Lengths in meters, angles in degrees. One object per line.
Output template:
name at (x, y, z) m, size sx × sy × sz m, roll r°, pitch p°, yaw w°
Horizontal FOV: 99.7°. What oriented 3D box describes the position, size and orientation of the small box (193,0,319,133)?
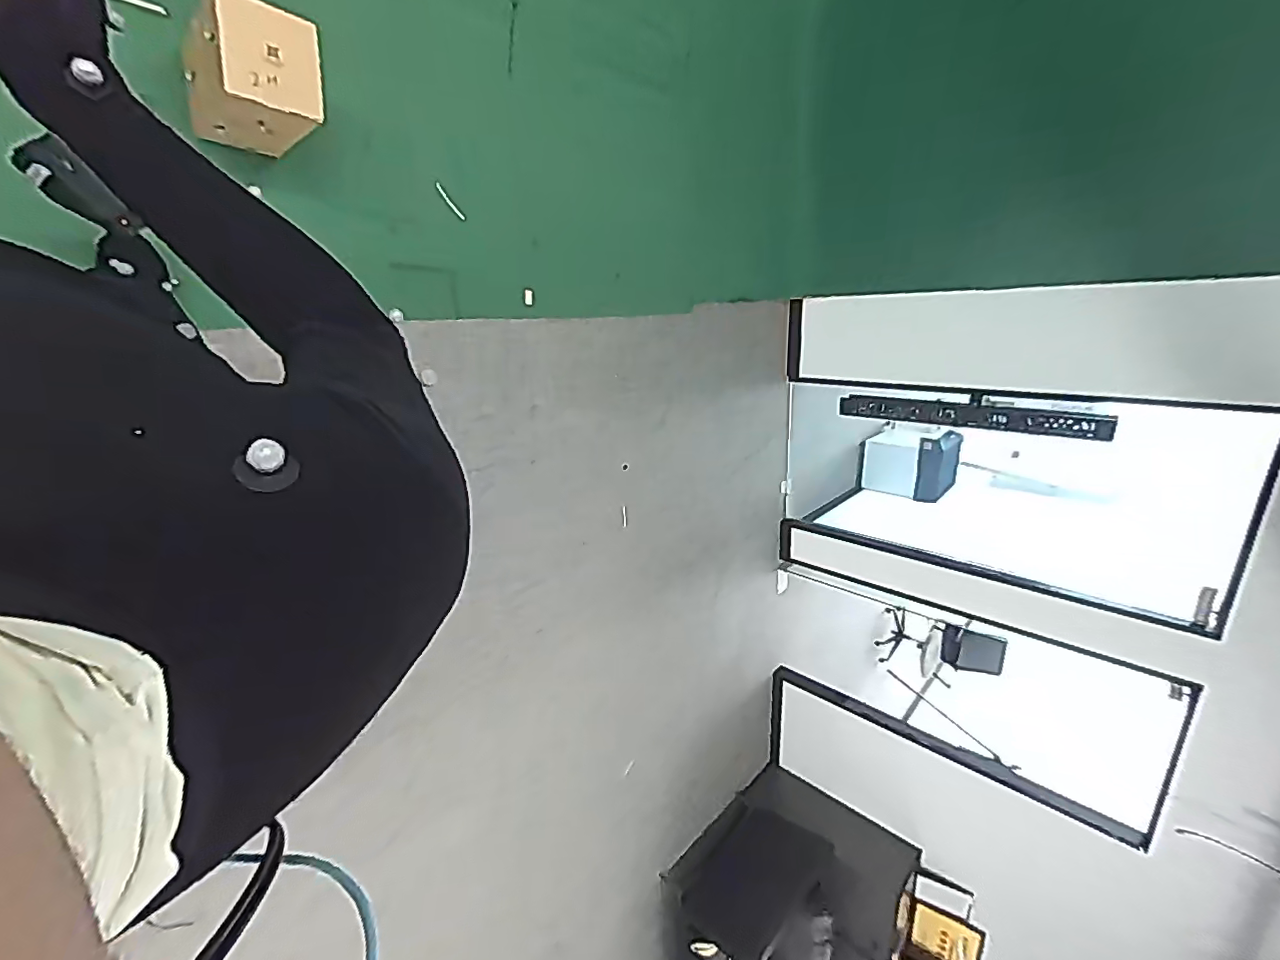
small box at (-0.760, -0.825, 1.071) m, size 0.168 × 0.176 × 0.179 m, roll -11°, pitch 109°, yaw -46°
